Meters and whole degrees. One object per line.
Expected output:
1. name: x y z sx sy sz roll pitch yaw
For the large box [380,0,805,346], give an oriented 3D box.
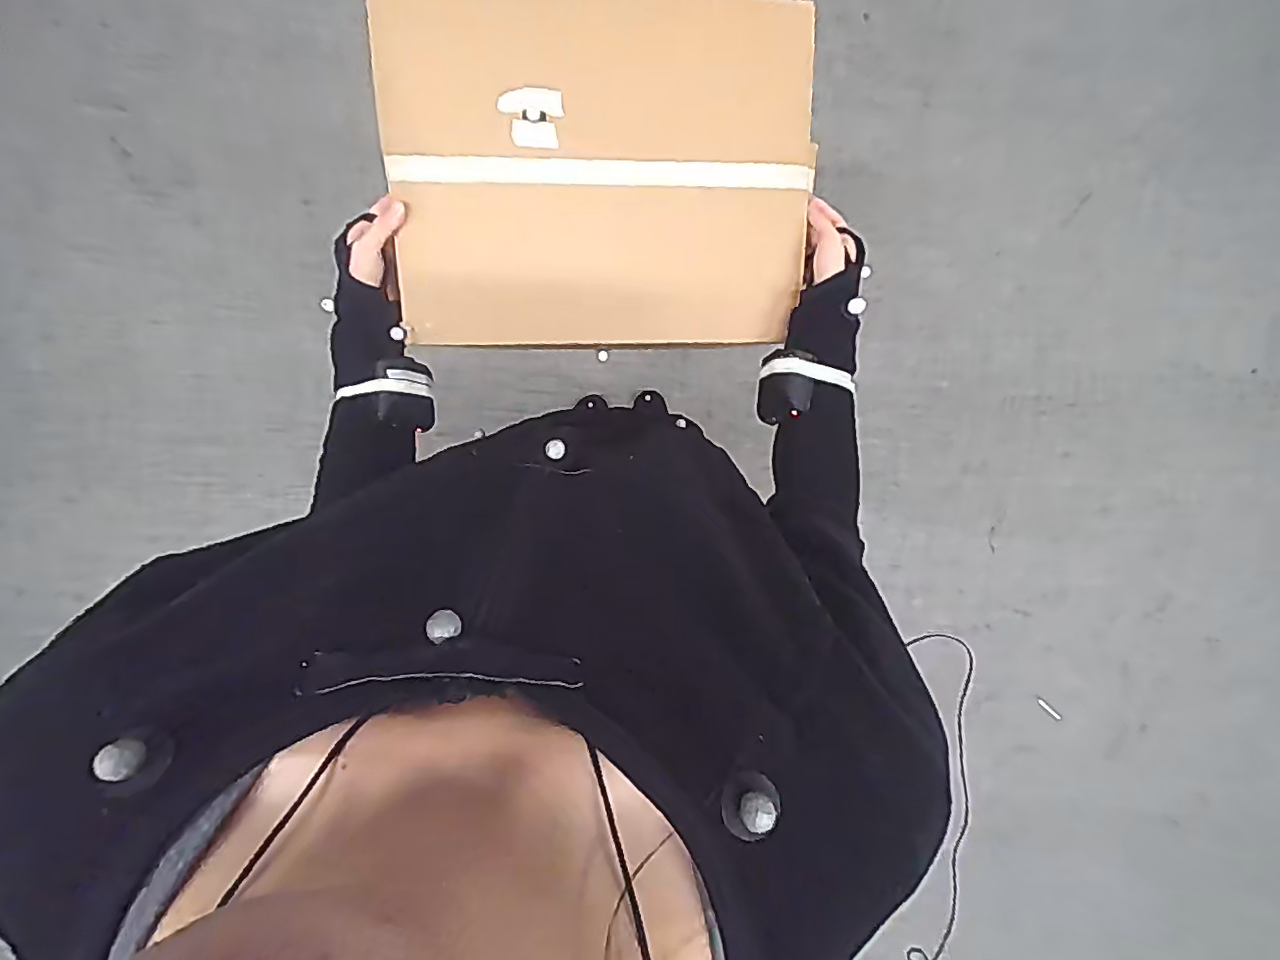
1. large box: -0.049 -0.331 0.679 0.408 0.320 0.320 -2 103 -6
